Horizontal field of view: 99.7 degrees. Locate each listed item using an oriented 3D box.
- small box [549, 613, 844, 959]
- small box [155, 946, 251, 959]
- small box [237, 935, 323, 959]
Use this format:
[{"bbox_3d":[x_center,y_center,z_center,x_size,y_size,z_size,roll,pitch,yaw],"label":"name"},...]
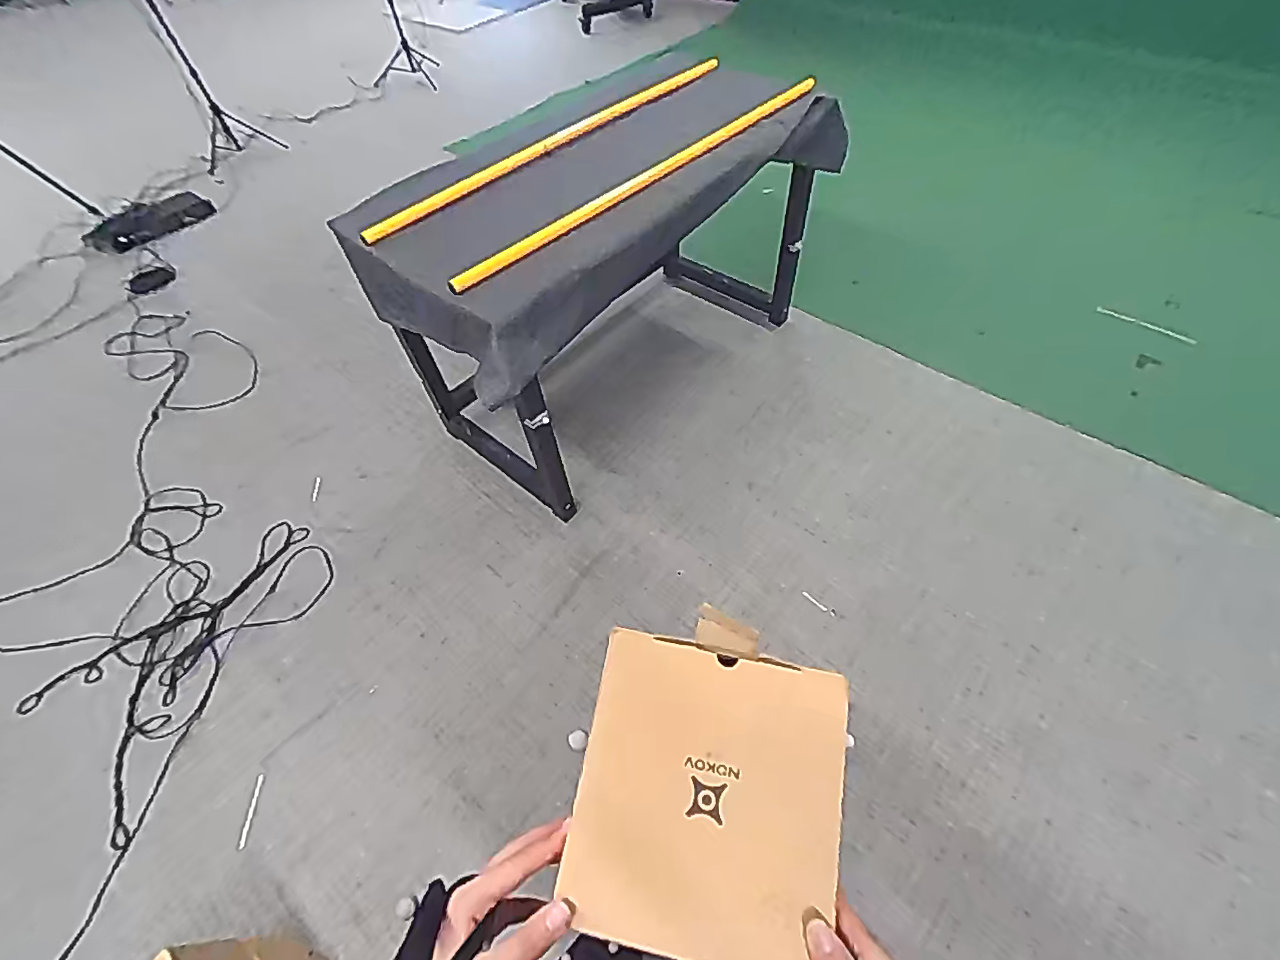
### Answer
[{"bbox_3d":[0.046,0.219,0.417,0.168,0.176,0.179,10,67,7],"label":"small box"},{"bbox_3d":[-0.674,0.830,0.791,0.179,0.176,0.168,30,61,24],"label":"small box"},{"bbox_3d":[-0.652,0.929,0.922,0.168,0.176,0.179,25,60,21],"label":"small box"}]
